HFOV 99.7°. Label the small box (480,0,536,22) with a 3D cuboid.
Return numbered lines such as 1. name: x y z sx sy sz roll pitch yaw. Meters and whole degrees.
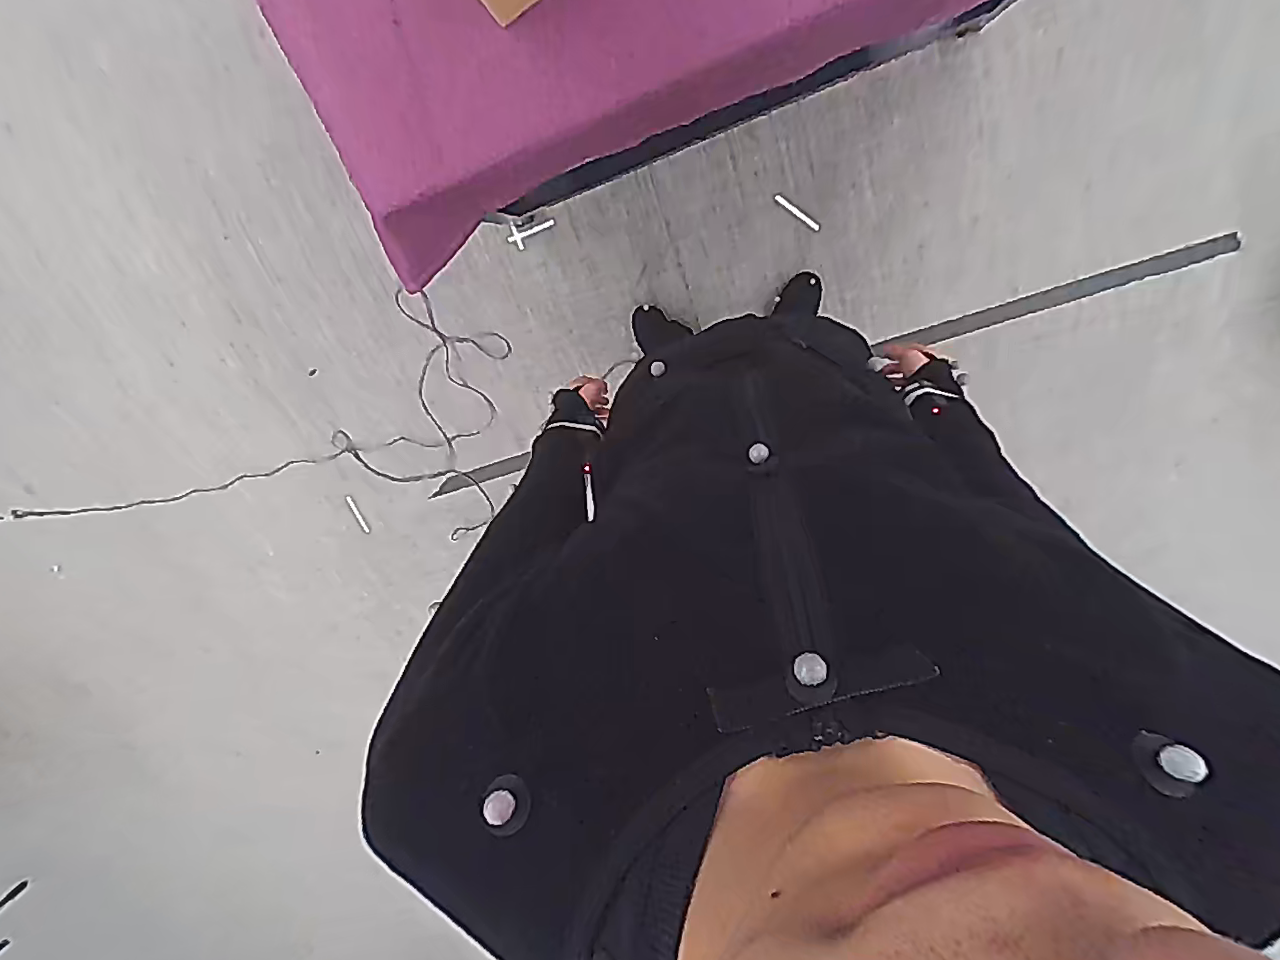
1. small box: -0.149 -0.647 0.570 0.179 0.176 0.168 -28 108 13
